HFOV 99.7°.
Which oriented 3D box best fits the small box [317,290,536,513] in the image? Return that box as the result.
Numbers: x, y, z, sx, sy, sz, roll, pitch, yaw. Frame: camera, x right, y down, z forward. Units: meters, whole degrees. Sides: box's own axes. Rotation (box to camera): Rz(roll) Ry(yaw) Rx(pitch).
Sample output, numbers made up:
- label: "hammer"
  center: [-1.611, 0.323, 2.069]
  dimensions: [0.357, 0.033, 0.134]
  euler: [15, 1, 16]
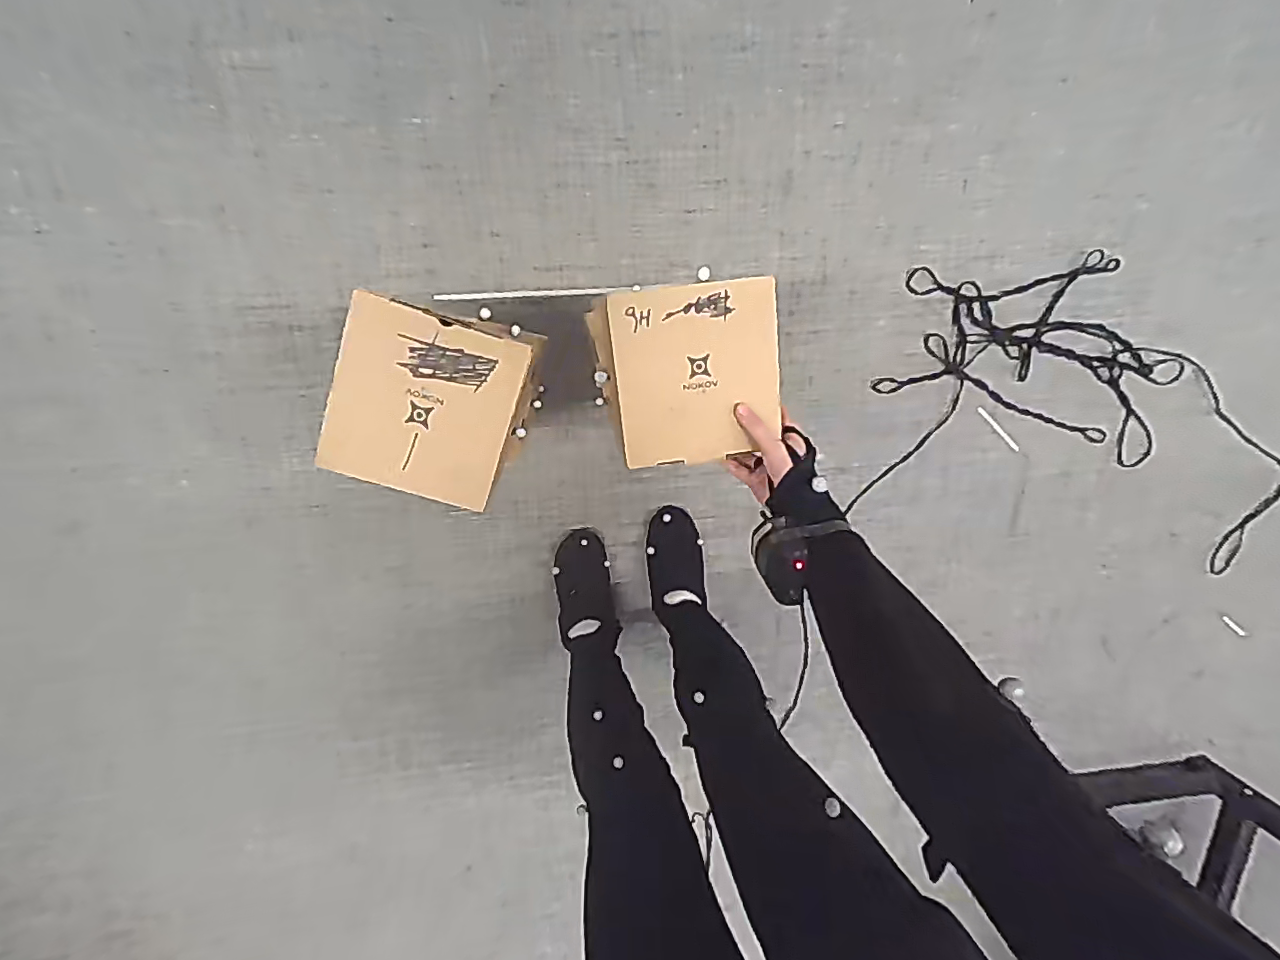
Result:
- label: "small box"
  center: [-0.217, -0.088, 0.594]
  dimensions: [0.168, 0.176, 0.179]
  euler: [17, 101, -11]

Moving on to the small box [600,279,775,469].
- label: "small box"
  center: [0.046, -0.124, 0.614]
  dimensions: [0.168, 0.176, 0.179]
  euler: [-8, 106, -4]

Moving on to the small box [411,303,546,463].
- label: "small box"
  center: [-0.234, -0.134, 0.751]
  dimensions: [0.179, 0.176, 0.168]
  euler: [13, 101, -10]

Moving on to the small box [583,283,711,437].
- label: "small box"
  center: [0.025, -0.169, 0.769]
  dimensions: [0.179, 0.176, 0.168]
  euler: [-15, 106, -2]
